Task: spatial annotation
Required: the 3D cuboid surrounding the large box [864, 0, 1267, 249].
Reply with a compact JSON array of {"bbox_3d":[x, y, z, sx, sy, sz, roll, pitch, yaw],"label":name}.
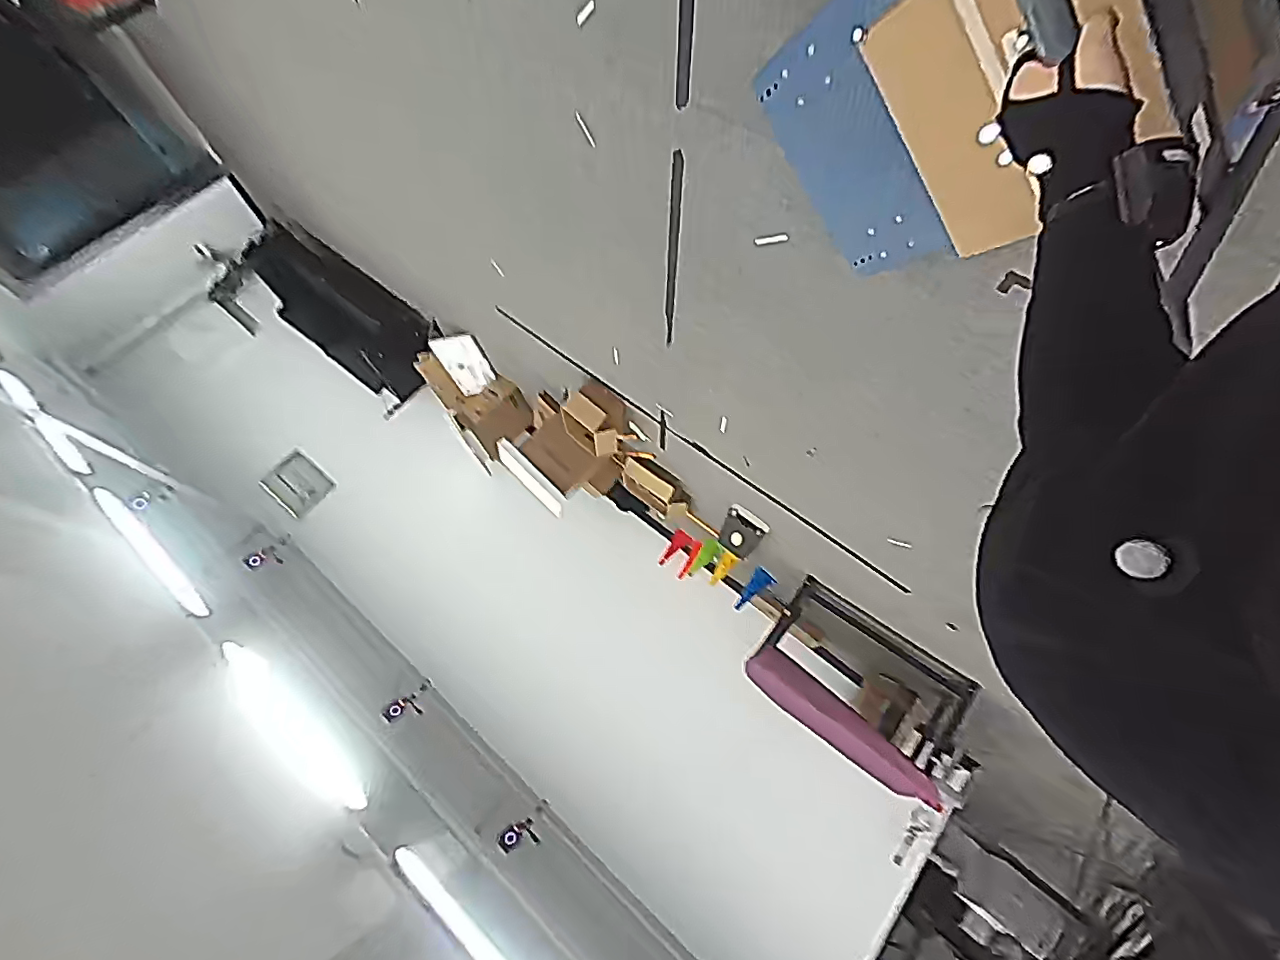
[{"bbox_3d":[0.632,-0.650,0.812,0.408,0.320,0.320,50,160,-20],"label":"large box"}]
